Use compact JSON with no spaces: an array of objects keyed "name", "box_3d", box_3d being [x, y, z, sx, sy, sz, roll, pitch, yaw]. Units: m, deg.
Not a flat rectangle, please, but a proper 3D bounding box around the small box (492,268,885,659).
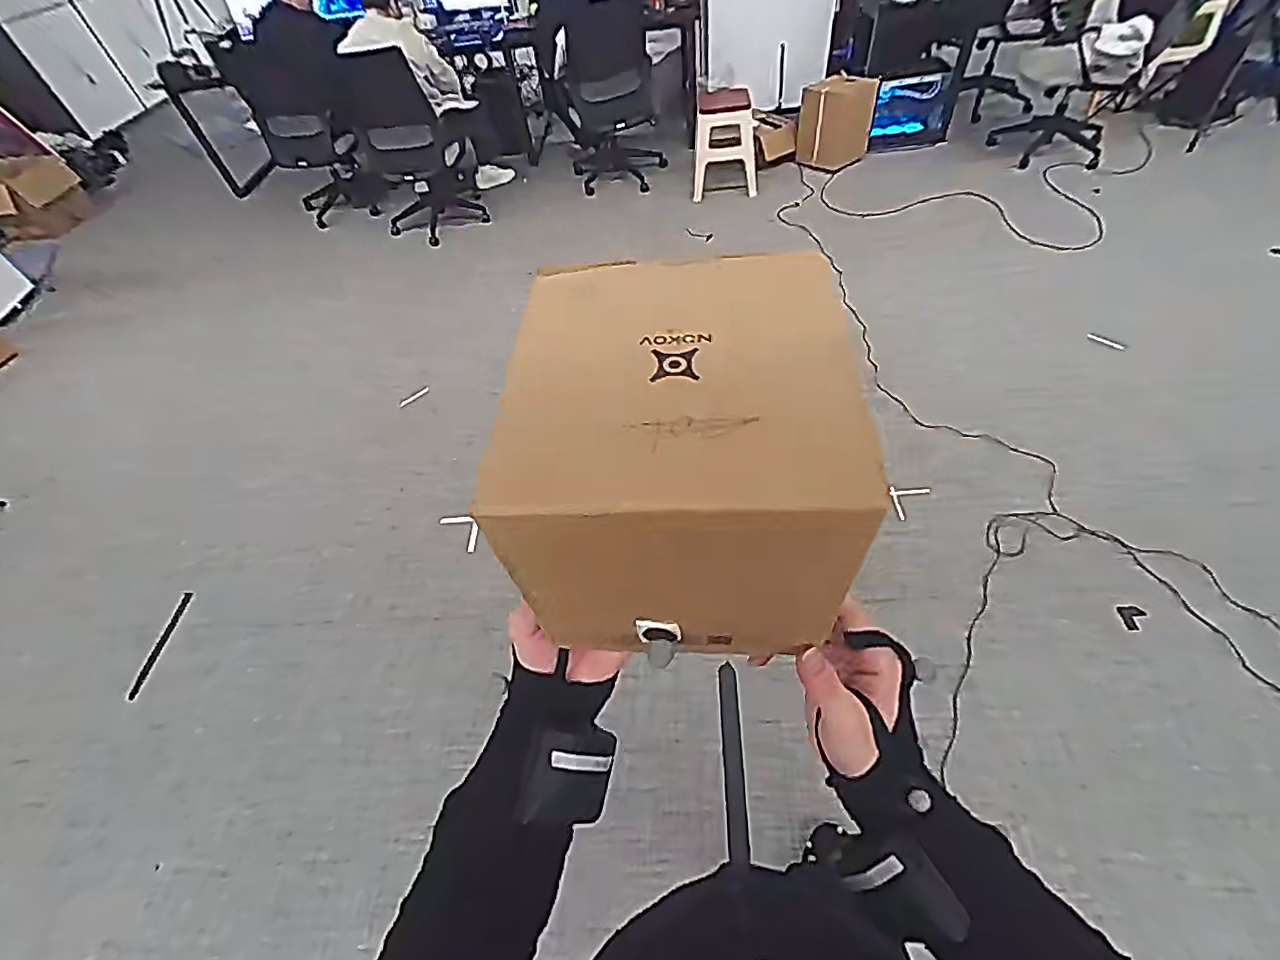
[{"name":"small box","box_3d":[0.028,-0.004,0.336,0.168,0.176,0.179,-2,53,6]}]
